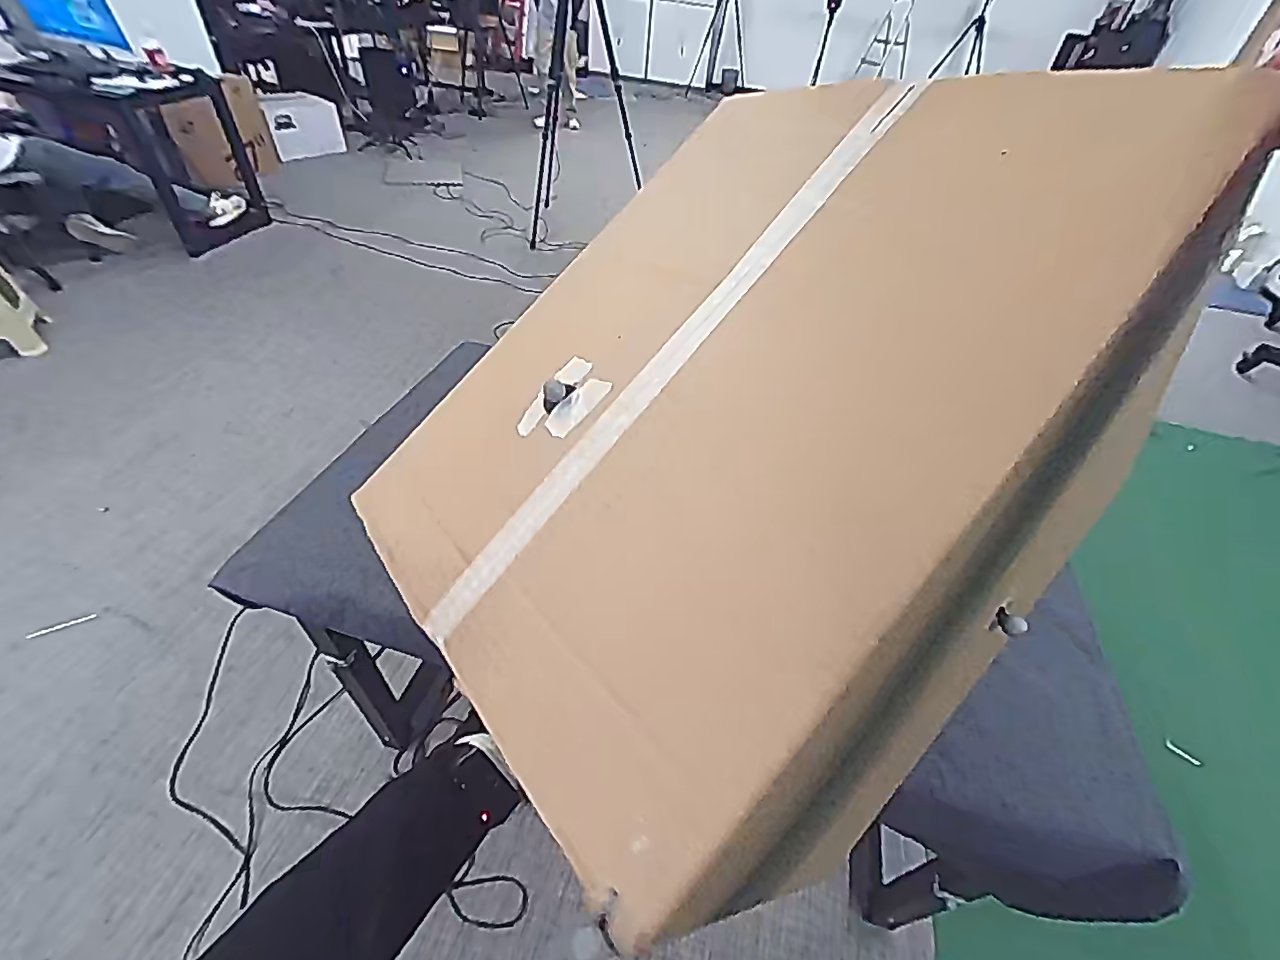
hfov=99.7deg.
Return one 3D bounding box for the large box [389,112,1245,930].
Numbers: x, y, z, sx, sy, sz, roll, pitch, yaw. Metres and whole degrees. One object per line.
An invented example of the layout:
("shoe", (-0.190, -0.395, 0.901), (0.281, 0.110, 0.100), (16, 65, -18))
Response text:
("large box", (0.109, 0.006, 0.417), (0.320, 0.320, 0.408), (34, 82, 40))
